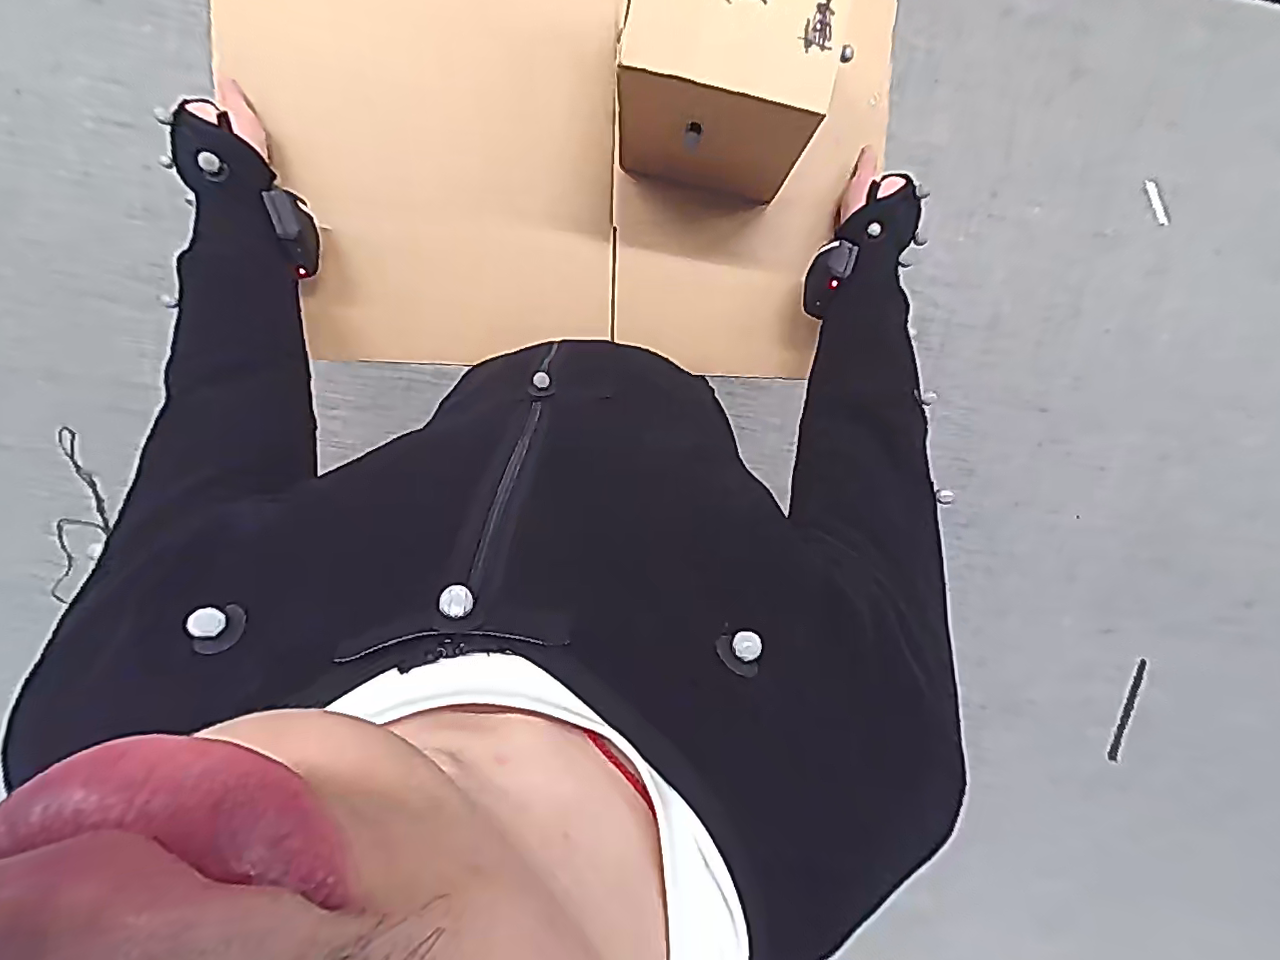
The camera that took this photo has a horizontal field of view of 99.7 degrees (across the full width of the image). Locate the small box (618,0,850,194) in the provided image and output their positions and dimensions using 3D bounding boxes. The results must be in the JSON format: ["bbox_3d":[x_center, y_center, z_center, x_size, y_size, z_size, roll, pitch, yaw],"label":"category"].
[{"bbox_3d":[0.083,-0.401,0.513,0.179,0.176,0.168,12,95,-2],"label":"small box"}]
